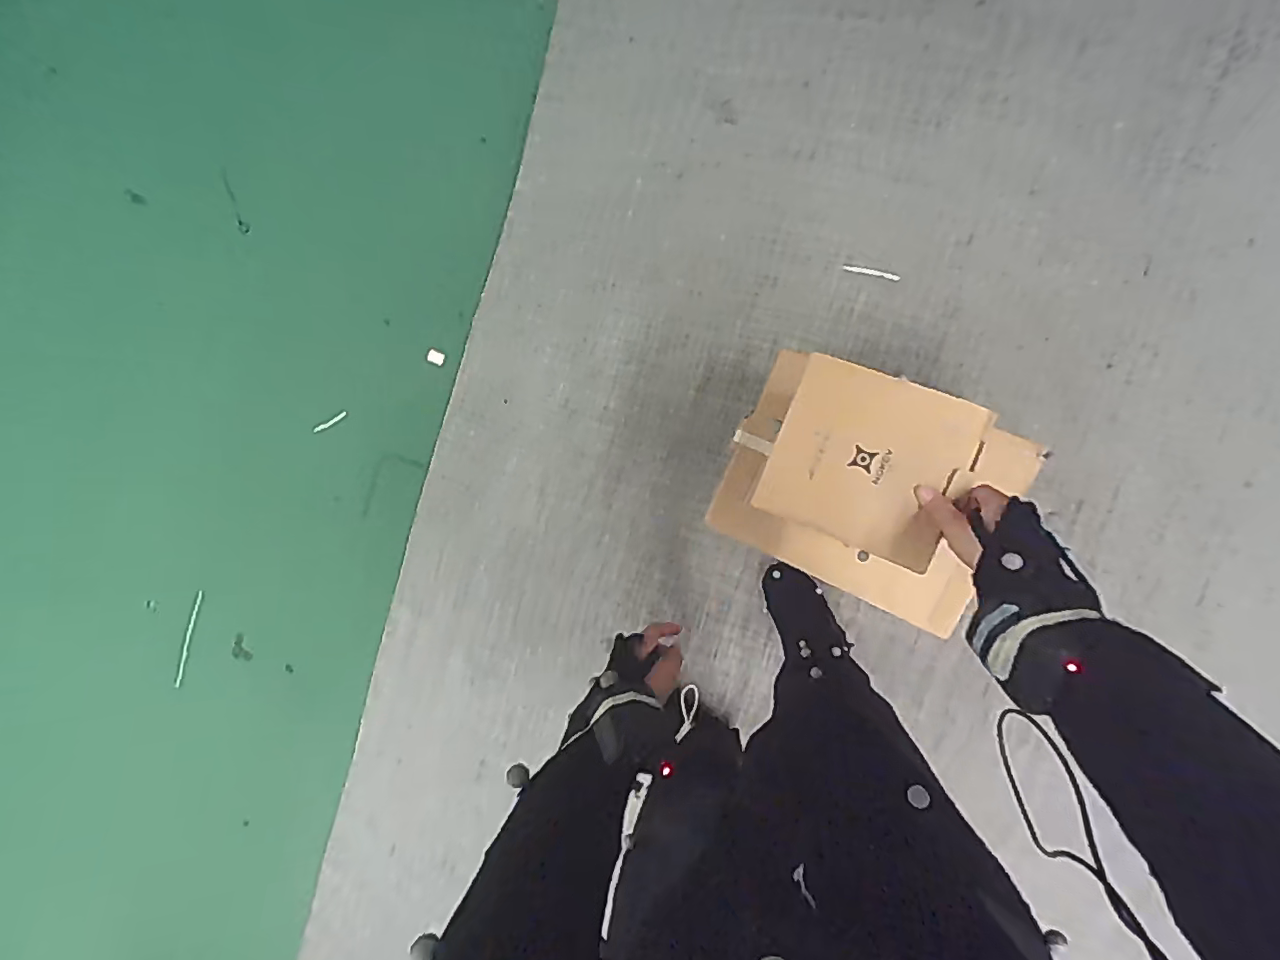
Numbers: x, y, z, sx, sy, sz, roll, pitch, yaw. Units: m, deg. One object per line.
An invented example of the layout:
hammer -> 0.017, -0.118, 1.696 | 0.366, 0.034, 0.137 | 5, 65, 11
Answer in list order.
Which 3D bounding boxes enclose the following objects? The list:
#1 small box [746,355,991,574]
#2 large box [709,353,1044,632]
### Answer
small box -> 0.234, -0.018, 0.593 | 0.179, 0.176, 0.168 | 22, 95, 15
large box -> 0.381, 0.010, 0.974 | 0.408, 0.320, 0.320 | 25, 98, 14
